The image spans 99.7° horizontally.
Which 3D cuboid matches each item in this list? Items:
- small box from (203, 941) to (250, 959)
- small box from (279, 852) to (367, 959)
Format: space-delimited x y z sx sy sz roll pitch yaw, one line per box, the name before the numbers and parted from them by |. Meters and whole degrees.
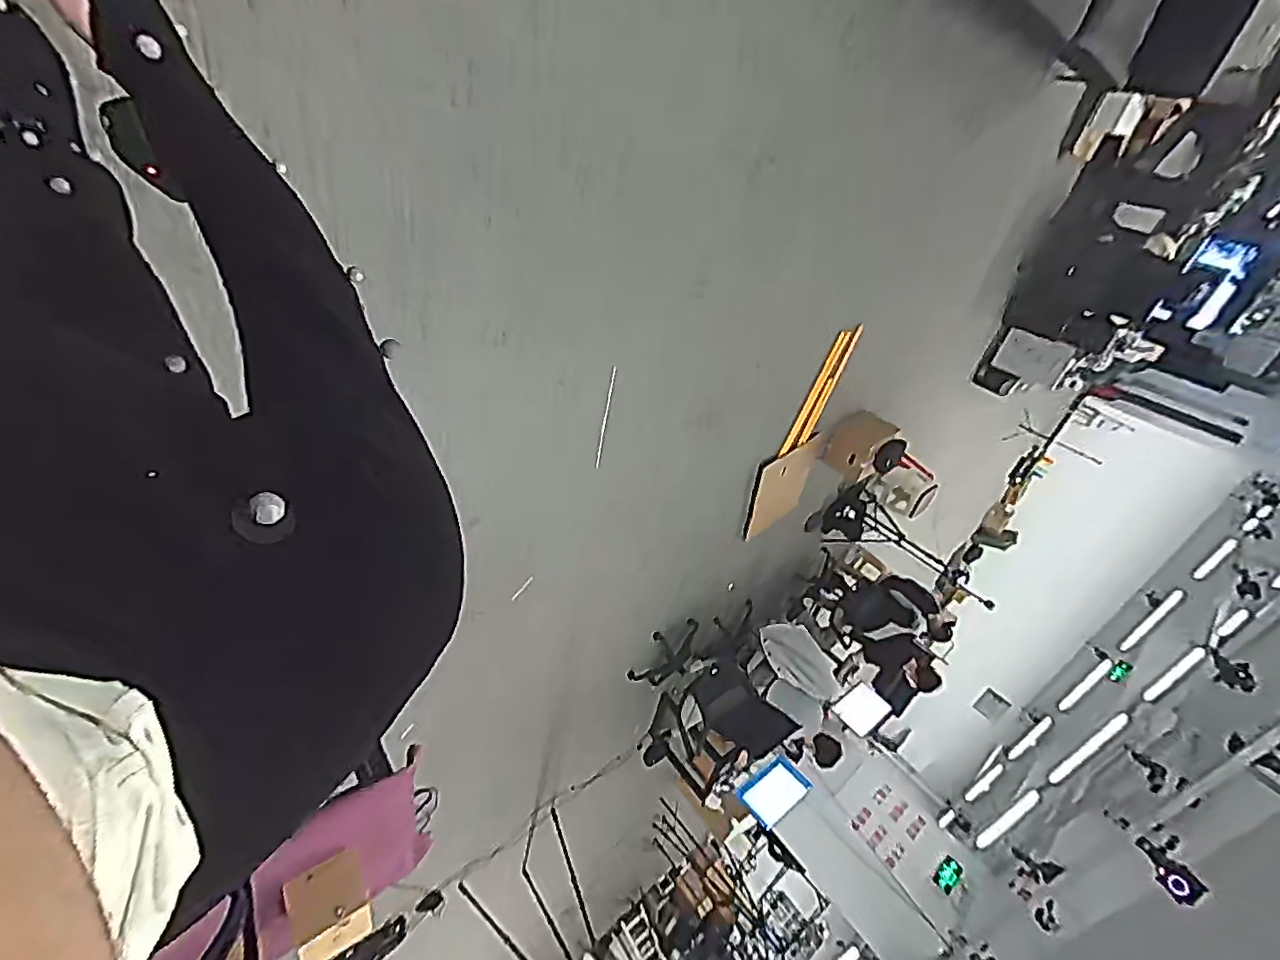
small box | -1.070 1.314 1.351 0.168 0.176 0.179 -17 134 -37
small box | -0.844 1.147 1.443 0.168 0.176 0.179 -15 132 -38
